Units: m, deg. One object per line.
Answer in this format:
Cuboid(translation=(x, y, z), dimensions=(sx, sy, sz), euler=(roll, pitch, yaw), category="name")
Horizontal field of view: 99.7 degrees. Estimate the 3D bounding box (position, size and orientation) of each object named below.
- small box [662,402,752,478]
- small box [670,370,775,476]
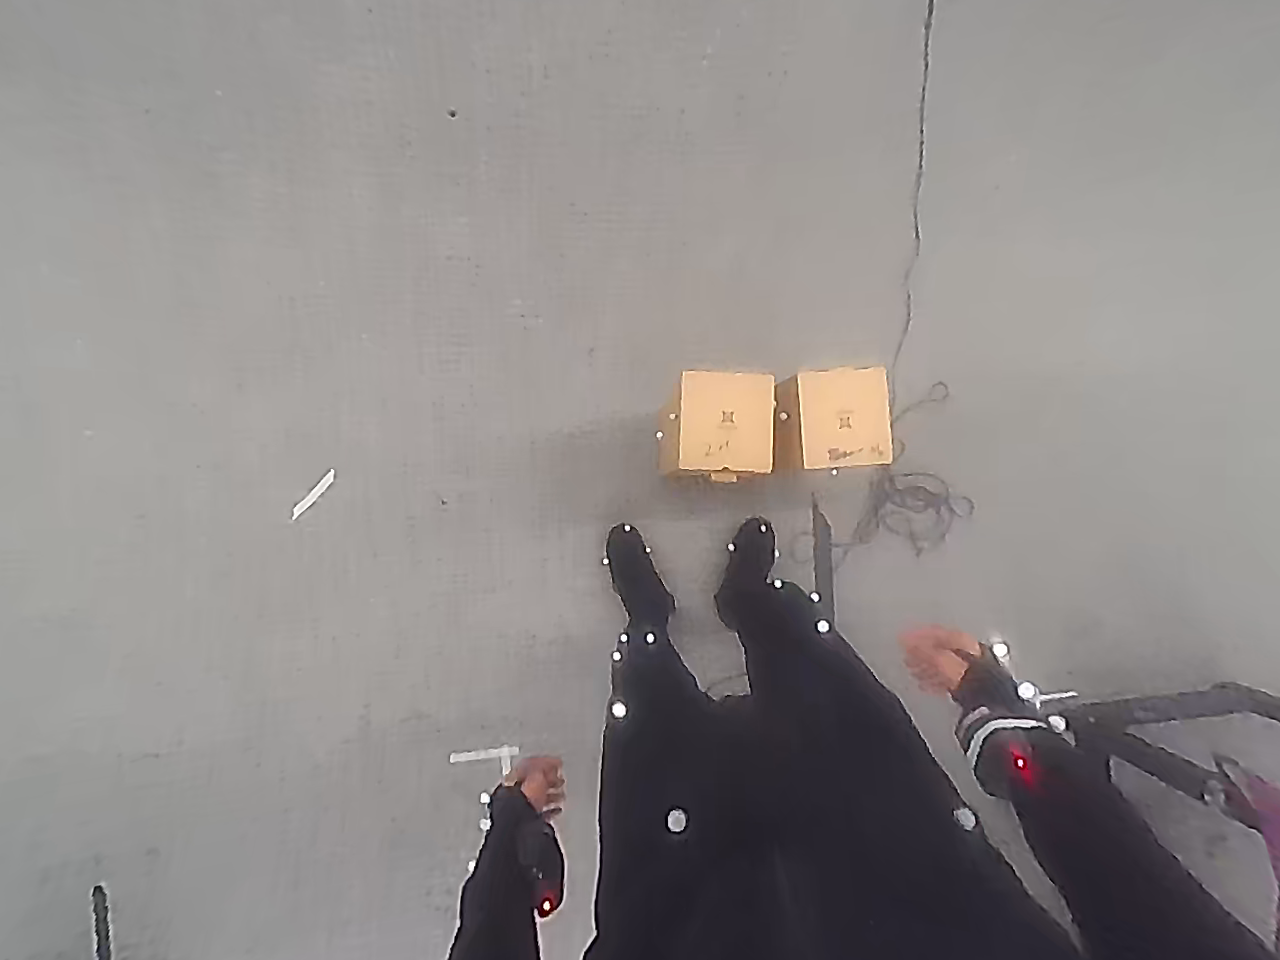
Cuboid(translation=(0.143, -0.090, 1.173), dimensions=(0.179, 0.176, 0.168), euler=(1, 89, -1), category="small box")
Cuboid(translation=(0.146, -0.099, 1.008), dimensions=(0.168, 0.176, 0.179), euler=(2, 90, -2), category="small box")
